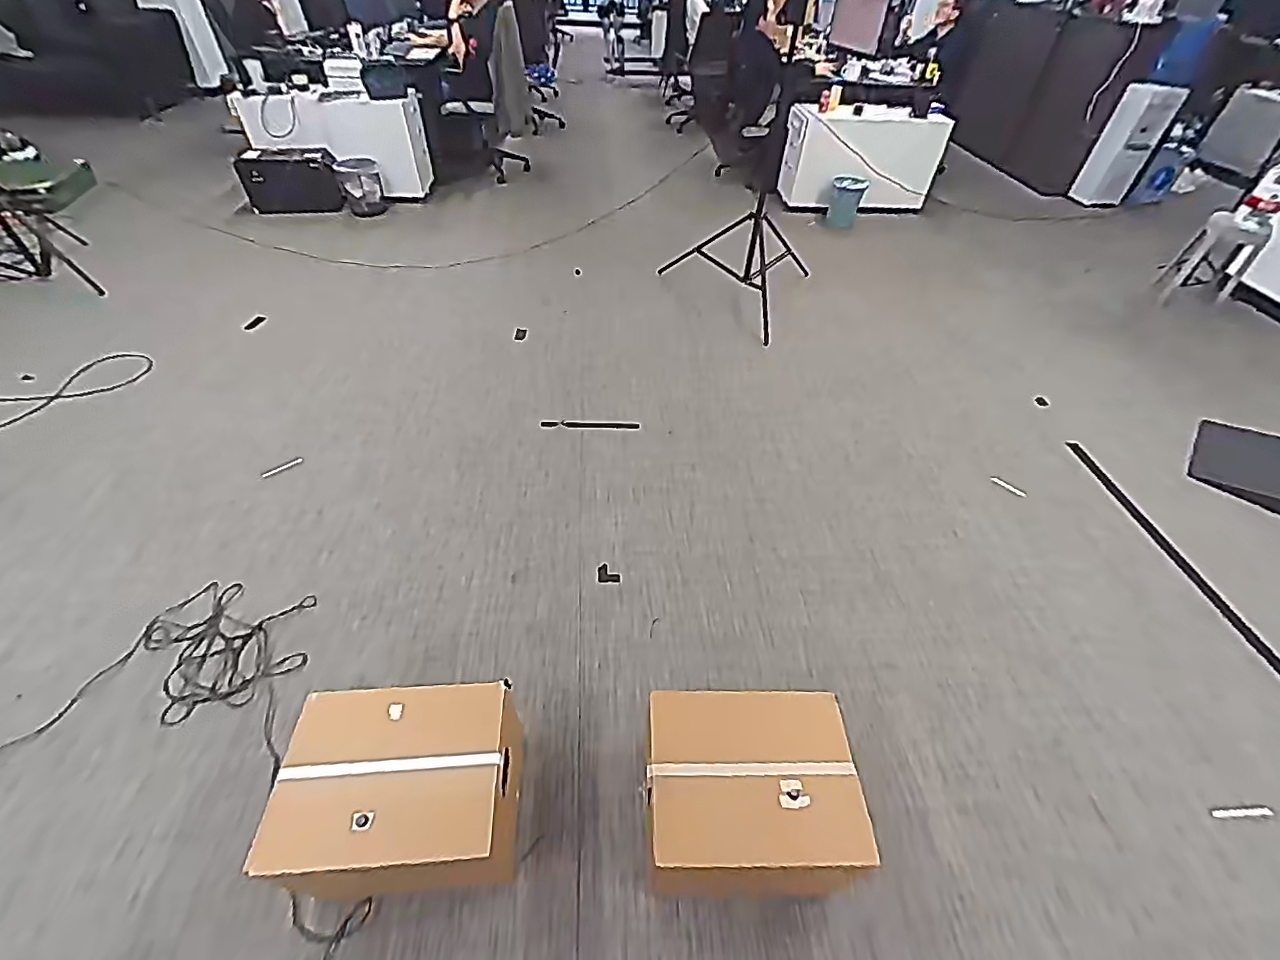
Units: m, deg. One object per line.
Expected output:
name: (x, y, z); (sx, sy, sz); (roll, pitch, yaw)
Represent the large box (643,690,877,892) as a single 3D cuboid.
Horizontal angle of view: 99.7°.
large box: (0.218, 0.671, 1.167); (0.408, 0.320, 0.320); (2, 46, -3)
